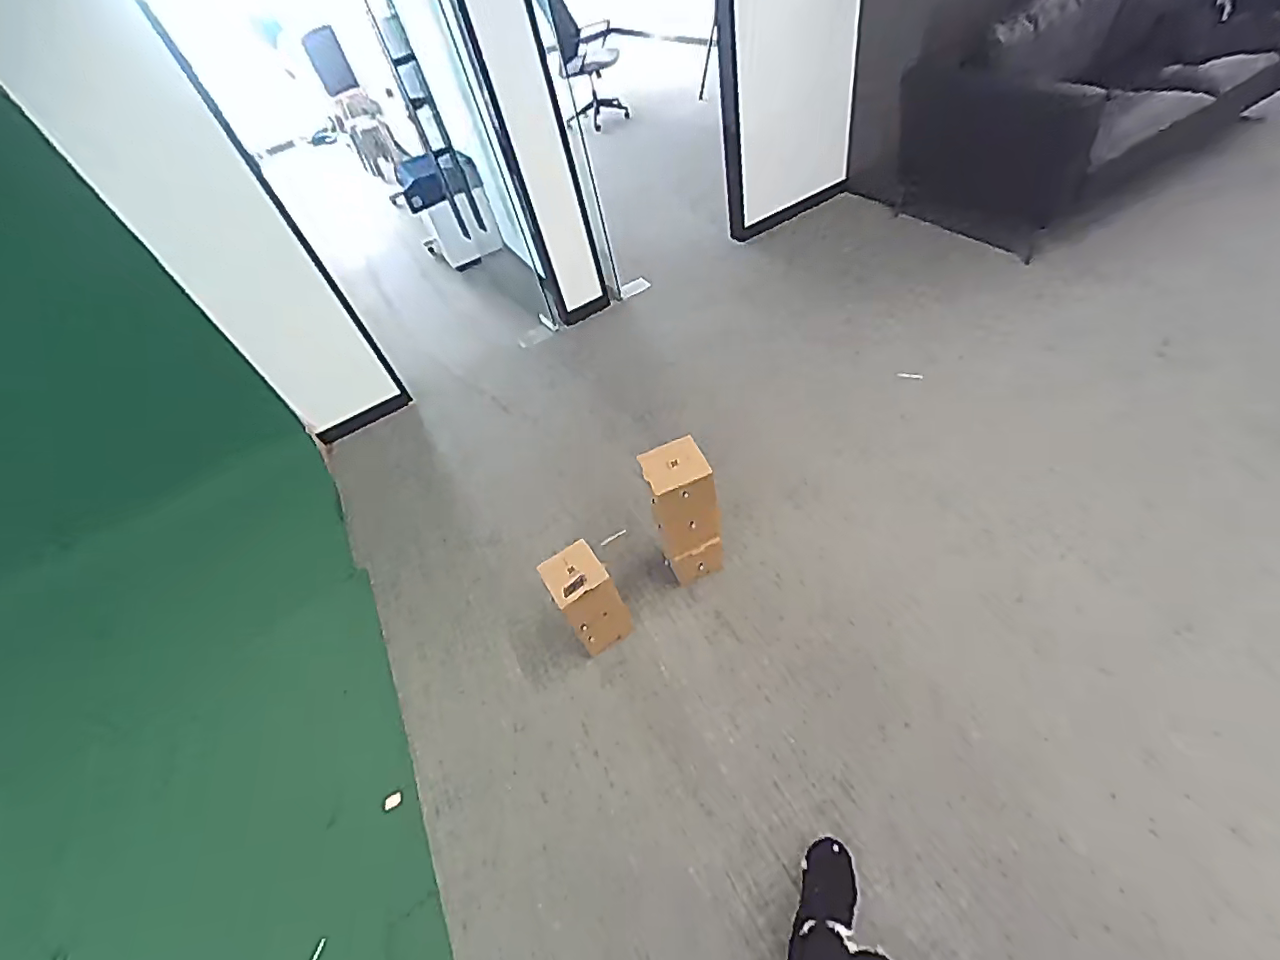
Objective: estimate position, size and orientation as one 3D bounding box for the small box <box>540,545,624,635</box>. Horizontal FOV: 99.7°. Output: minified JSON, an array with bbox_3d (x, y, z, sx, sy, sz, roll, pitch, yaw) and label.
[{"bbox_3d":[-0.167,0.334,1.608,0.168,0.176,0.179,-31,47,-13],"label":"small box"}]

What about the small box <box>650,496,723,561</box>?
[{"bbox_3d":[0.151,0.122,1.712,0.179,0.176,0.168,-25,48,-7],"label":"small box"}]

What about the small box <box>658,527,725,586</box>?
[{"bbox_3d":[0.178,0.237,1.825,0.168,0.176,0.179,-23,49,-7],"label":"small box"}]

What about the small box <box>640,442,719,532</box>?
[{"bbox_3d":[0.119,0.025,1.585,0.179,0.176,0.168,-22,48,-4],"label":"small box"}]
